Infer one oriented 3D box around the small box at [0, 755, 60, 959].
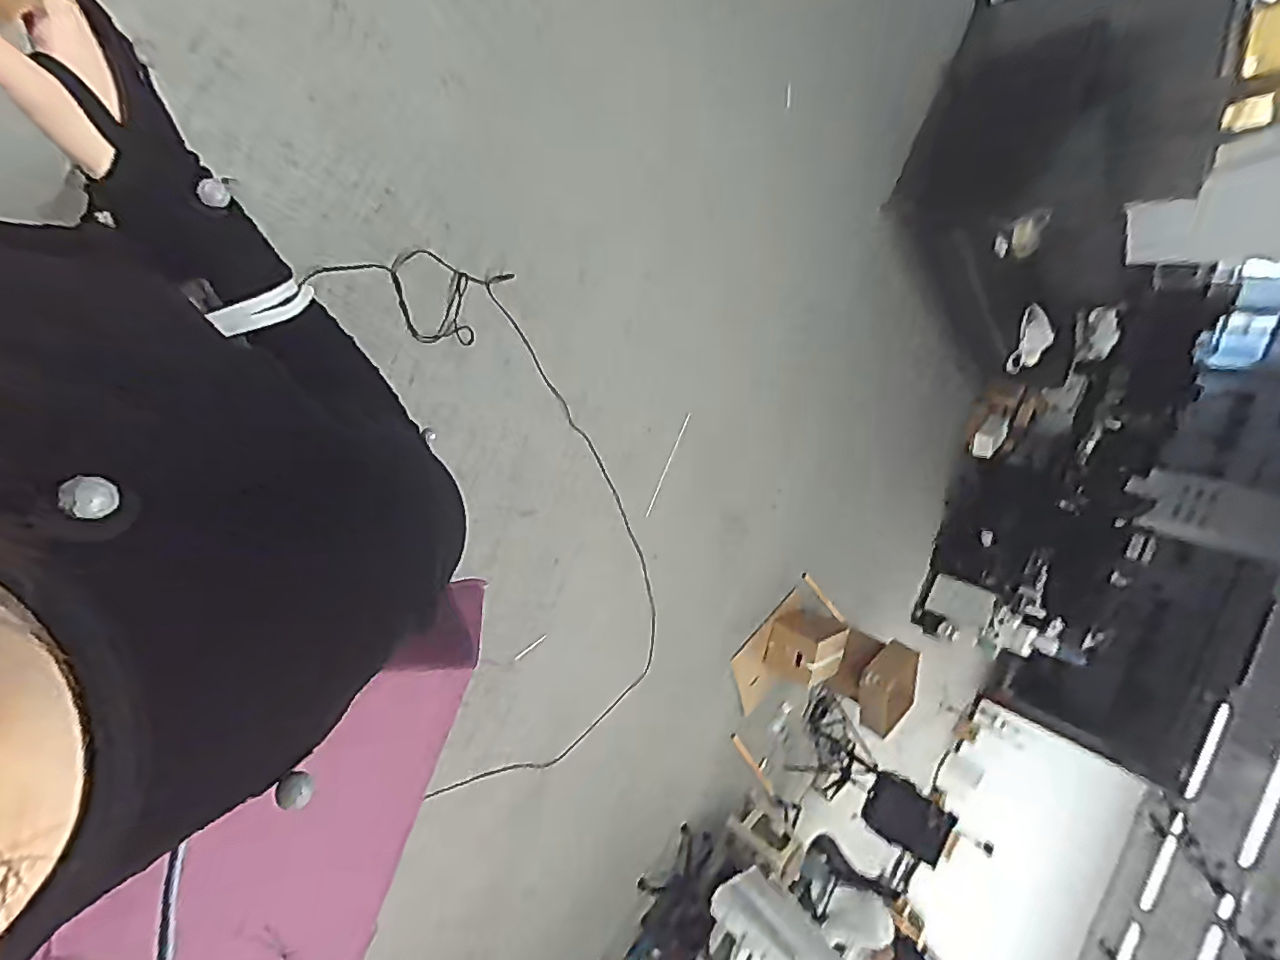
[{"bbox_3d":[-0.684,0.378,0.494,0.179,0.176,0.168,26,87,-48],"label":"small box"}]
